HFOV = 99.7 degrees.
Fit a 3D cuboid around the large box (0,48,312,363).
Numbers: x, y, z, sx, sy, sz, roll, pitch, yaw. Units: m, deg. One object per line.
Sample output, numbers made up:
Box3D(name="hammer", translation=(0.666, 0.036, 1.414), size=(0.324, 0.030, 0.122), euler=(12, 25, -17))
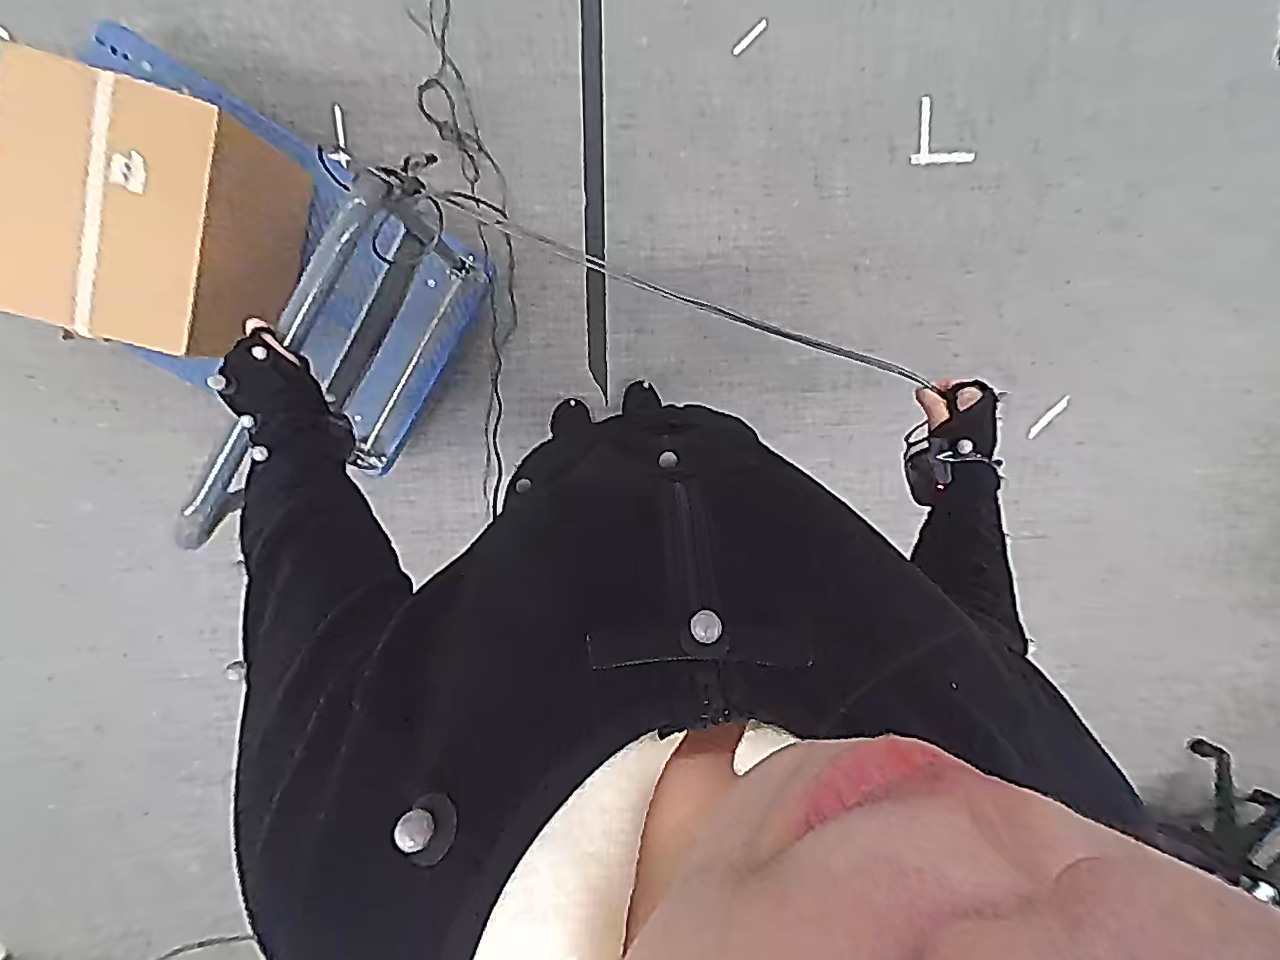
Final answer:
Box3D(name="large box", translation=(-0.871, -0.456, 1.010), size=(0.320, 0.320, 0.408), euler=(14, 99, -8))
